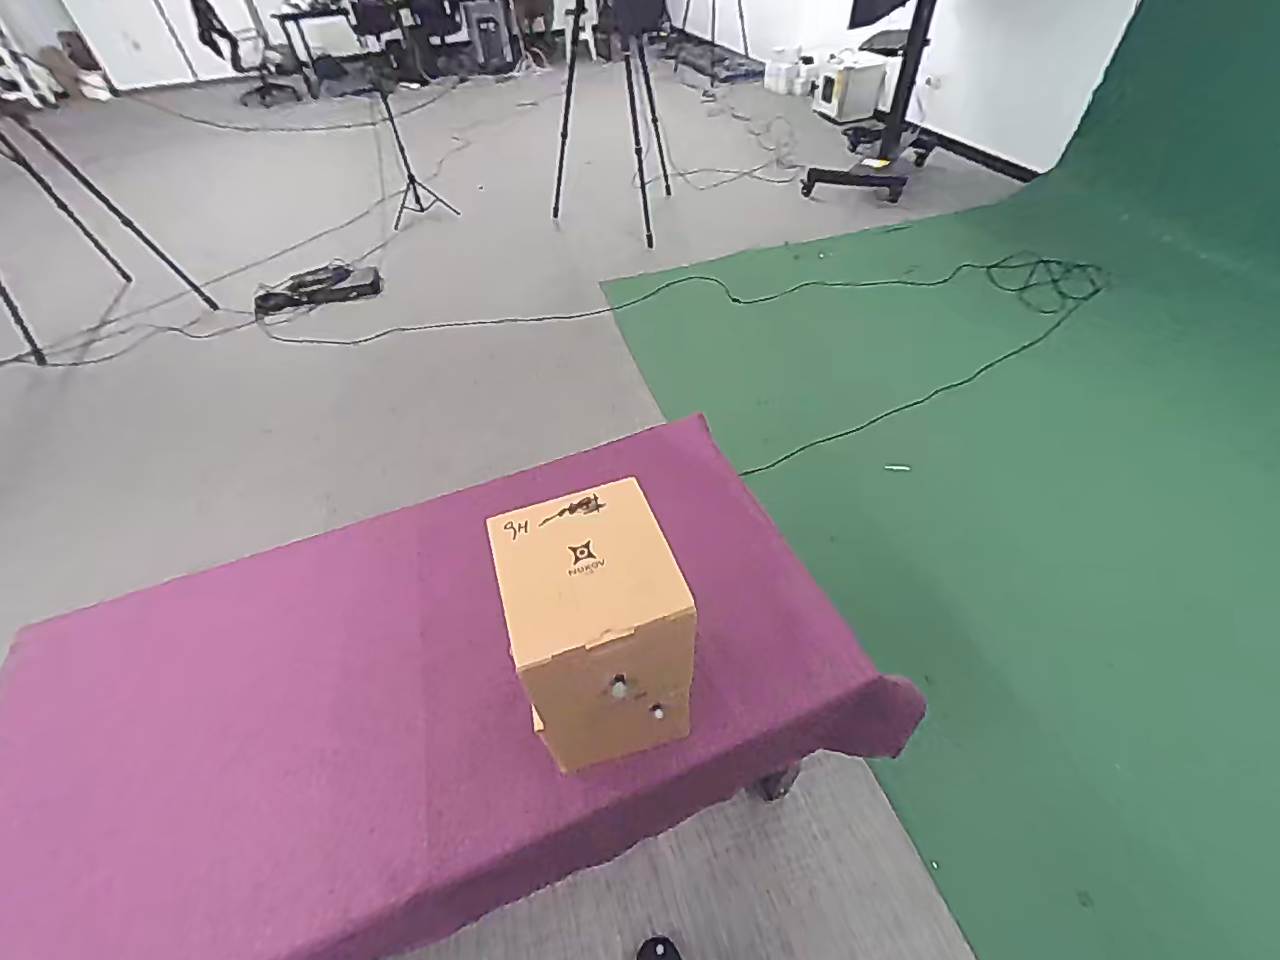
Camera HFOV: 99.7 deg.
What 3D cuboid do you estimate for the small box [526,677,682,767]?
[{"bbox_3d":[-0.050,0.246,0.701,0.179,0.176,0.168,-13,48,-8],"label":"small box"}]

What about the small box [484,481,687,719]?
[{"bbox_3d":[-0.055,0.135,0.581,0.168,0.176,0.179,-15,49,-11],"label":"small box"}]
